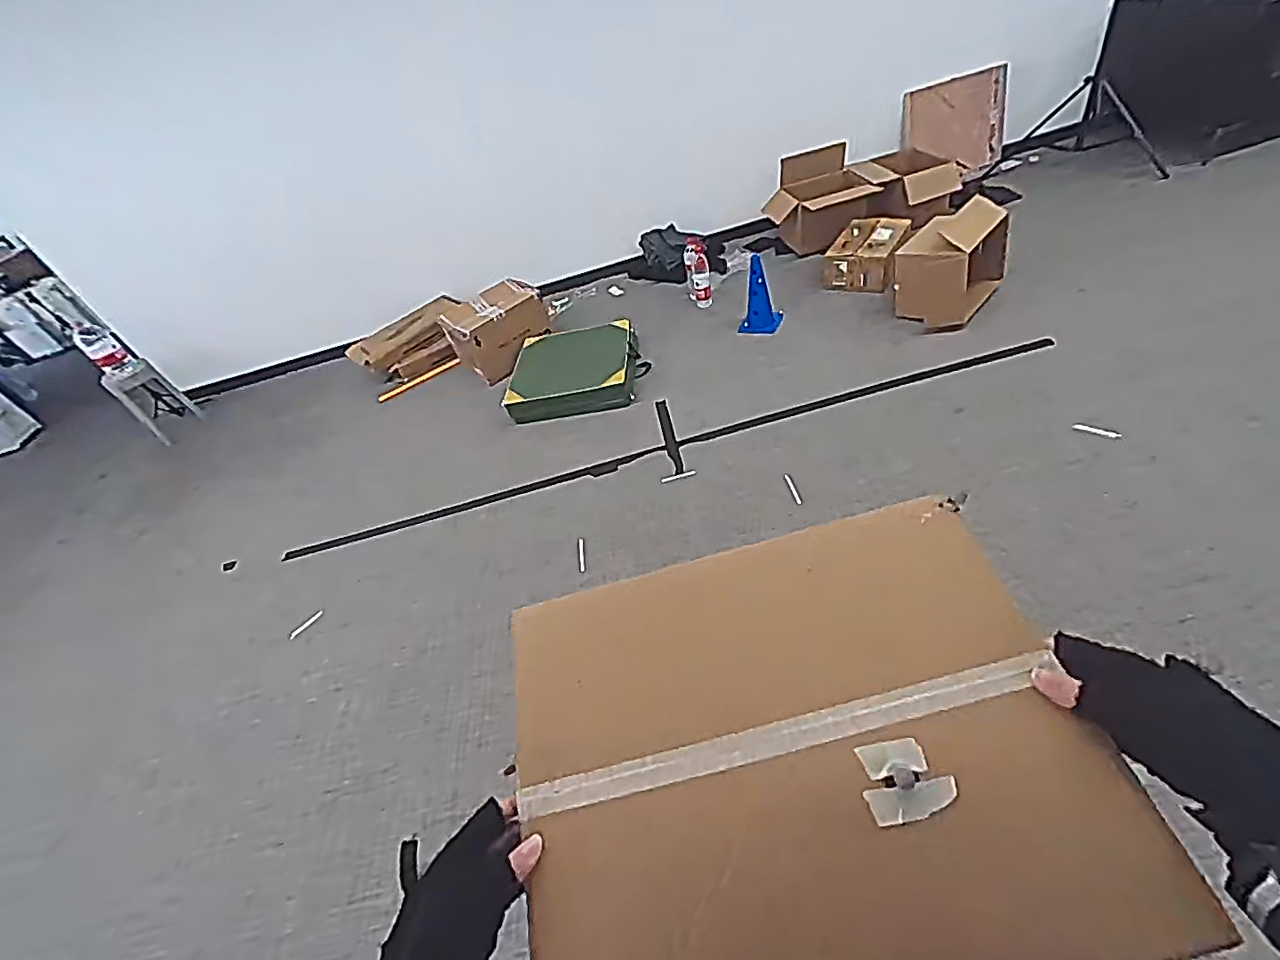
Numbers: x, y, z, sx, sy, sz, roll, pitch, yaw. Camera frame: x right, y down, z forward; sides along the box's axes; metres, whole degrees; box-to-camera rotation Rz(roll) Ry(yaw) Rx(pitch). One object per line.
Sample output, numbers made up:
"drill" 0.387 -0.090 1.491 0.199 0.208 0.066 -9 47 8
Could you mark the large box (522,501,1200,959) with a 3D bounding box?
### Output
"large box" 0.137 0.278 0.528 0.408 0.320 0.320 -16 54 2
